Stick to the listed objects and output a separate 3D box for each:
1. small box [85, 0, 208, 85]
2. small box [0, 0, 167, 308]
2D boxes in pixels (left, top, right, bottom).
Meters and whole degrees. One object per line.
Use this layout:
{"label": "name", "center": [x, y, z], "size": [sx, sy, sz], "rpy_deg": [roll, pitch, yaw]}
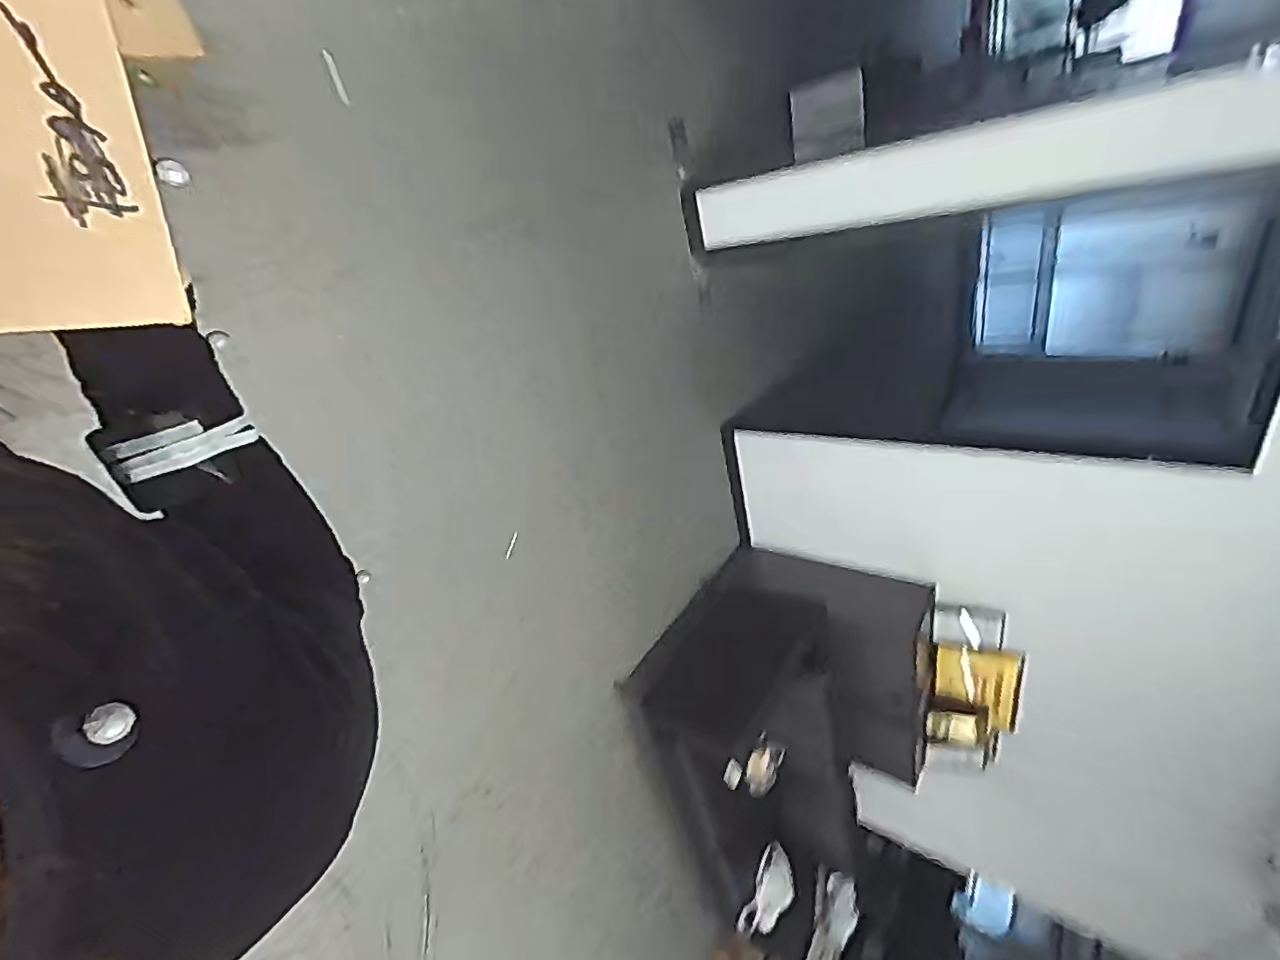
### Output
{"label": "small box", "center": [-0.944, -0.843, 0.983], "size": [0.168, 0.176, 0.179], "rpy_deg": [-40, 127, -41]}
{"label": "small box", "center": [-0.330, -0.165, 0.214], "size": [0.179, 0.176, 0.168], "rpy_deg": [-20, 127, -40]}
